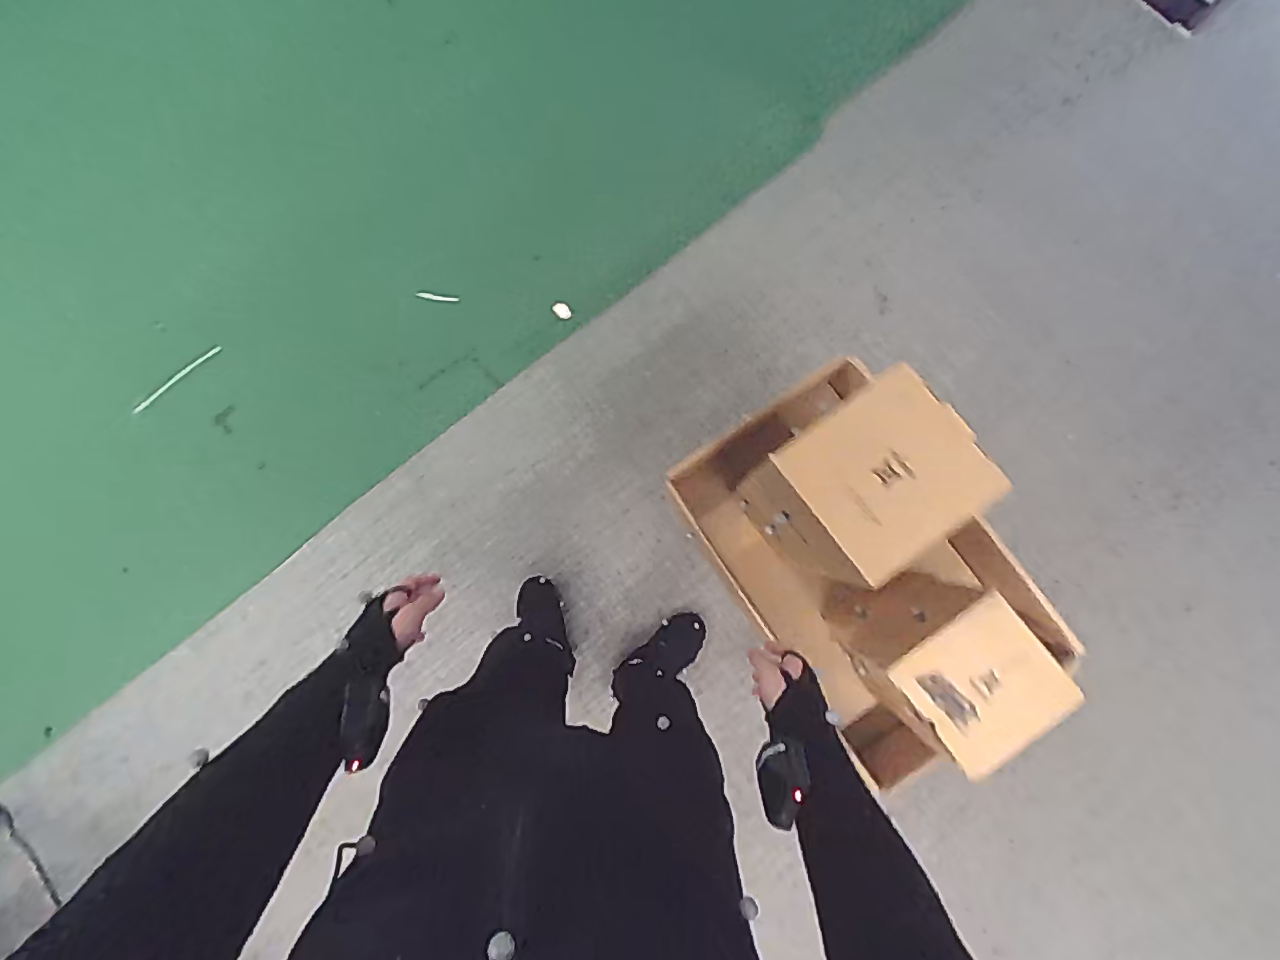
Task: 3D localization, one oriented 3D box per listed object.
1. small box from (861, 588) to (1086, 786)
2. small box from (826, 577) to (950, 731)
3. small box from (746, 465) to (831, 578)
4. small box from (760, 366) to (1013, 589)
[{"bbox_3d":[0.432,0.267,0.743,0.179,0.176,0.168,-36,82,0],"label":"small box"},{"bbox_3d":[0.445,0.277,0.907,0.179,0.176,0.168,-32,82,1],"label":"small box"},{"bbox_3d":[0.274,0.022,0.784,0.179,0.176,0.168,-35,81,0],"label":"small box"},{"bbox_3d":[0.261,0.004,0.622,0.179,0.176,0.168,-35,81,-1],"label":"small box"}]
